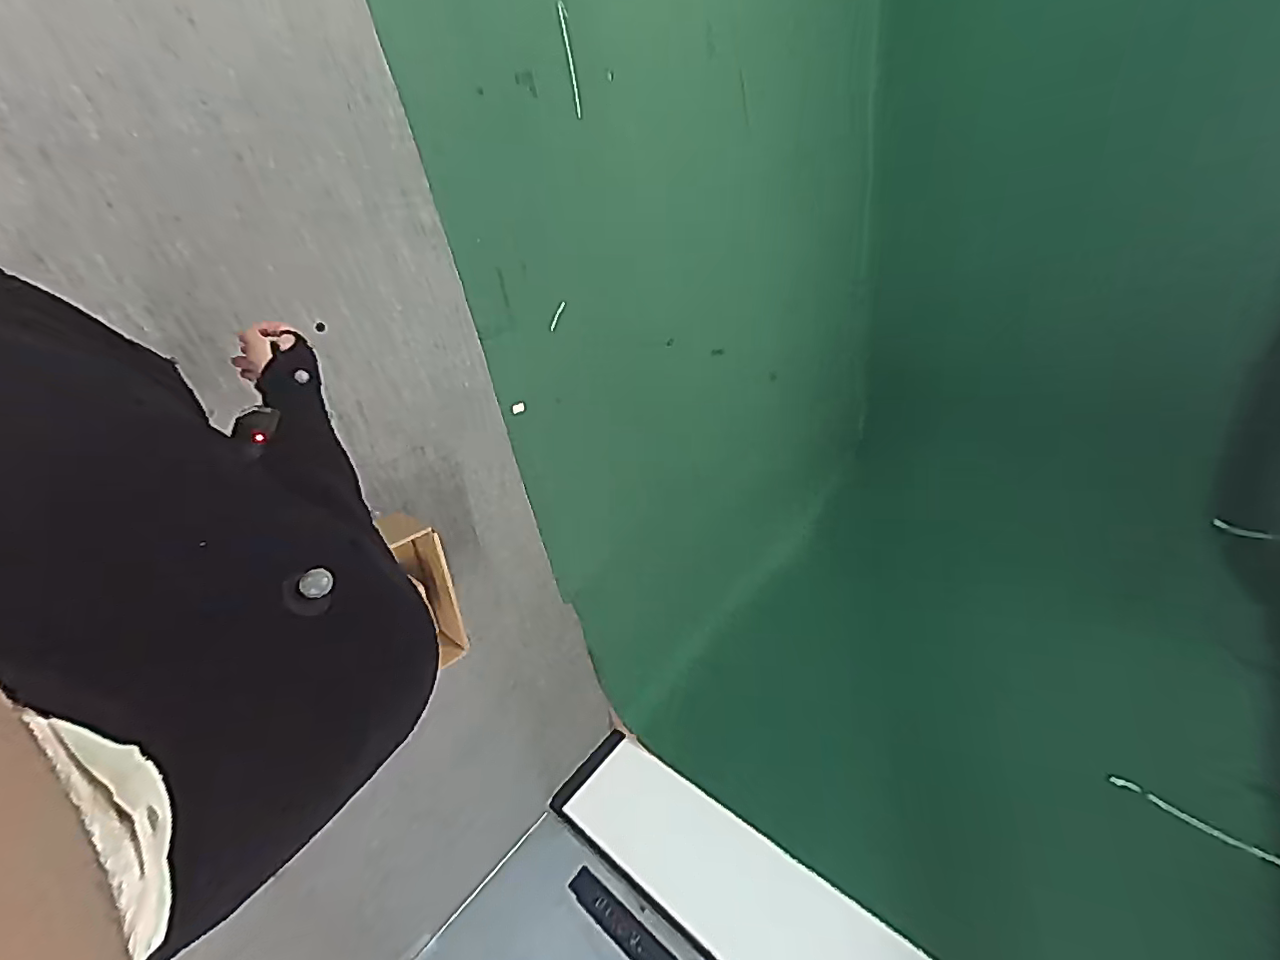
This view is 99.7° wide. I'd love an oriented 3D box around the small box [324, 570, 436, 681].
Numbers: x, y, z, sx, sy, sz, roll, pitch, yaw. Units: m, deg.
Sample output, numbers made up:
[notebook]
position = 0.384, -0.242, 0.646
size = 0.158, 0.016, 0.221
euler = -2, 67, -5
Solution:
[small box]
position = -0.631, 0.342, 1.315
size = 0.179, 0.176, 0.168
euler = -25, 121, -42
